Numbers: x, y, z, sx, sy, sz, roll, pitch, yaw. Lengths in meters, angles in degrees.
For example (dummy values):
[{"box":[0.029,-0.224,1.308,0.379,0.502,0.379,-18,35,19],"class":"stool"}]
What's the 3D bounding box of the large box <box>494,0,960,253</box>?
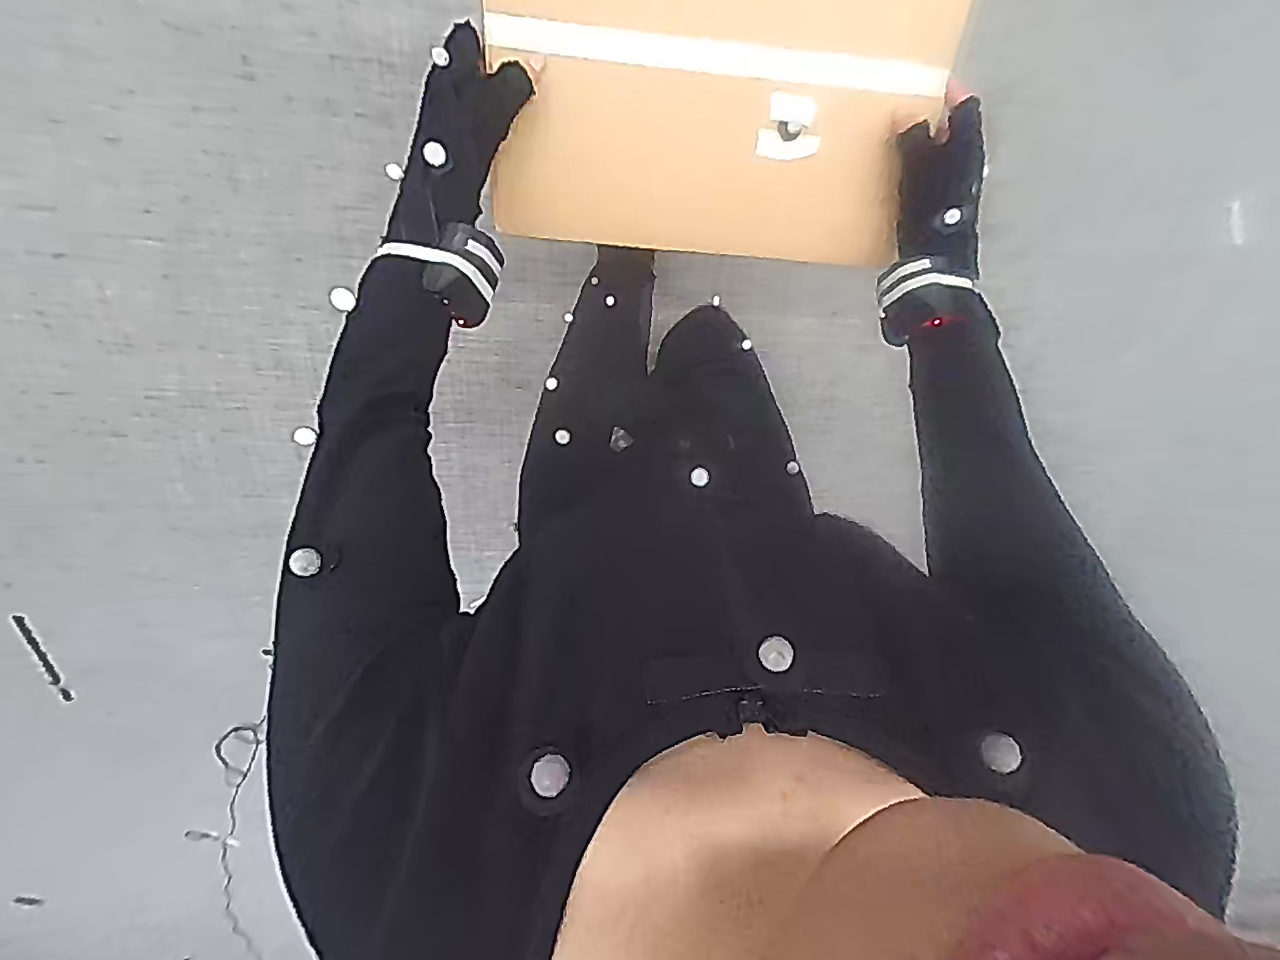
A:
[{"box":[0.062,-0.448,0.601,0.408,0.320,0.320,2,121,-6],"class":"large box"}]
